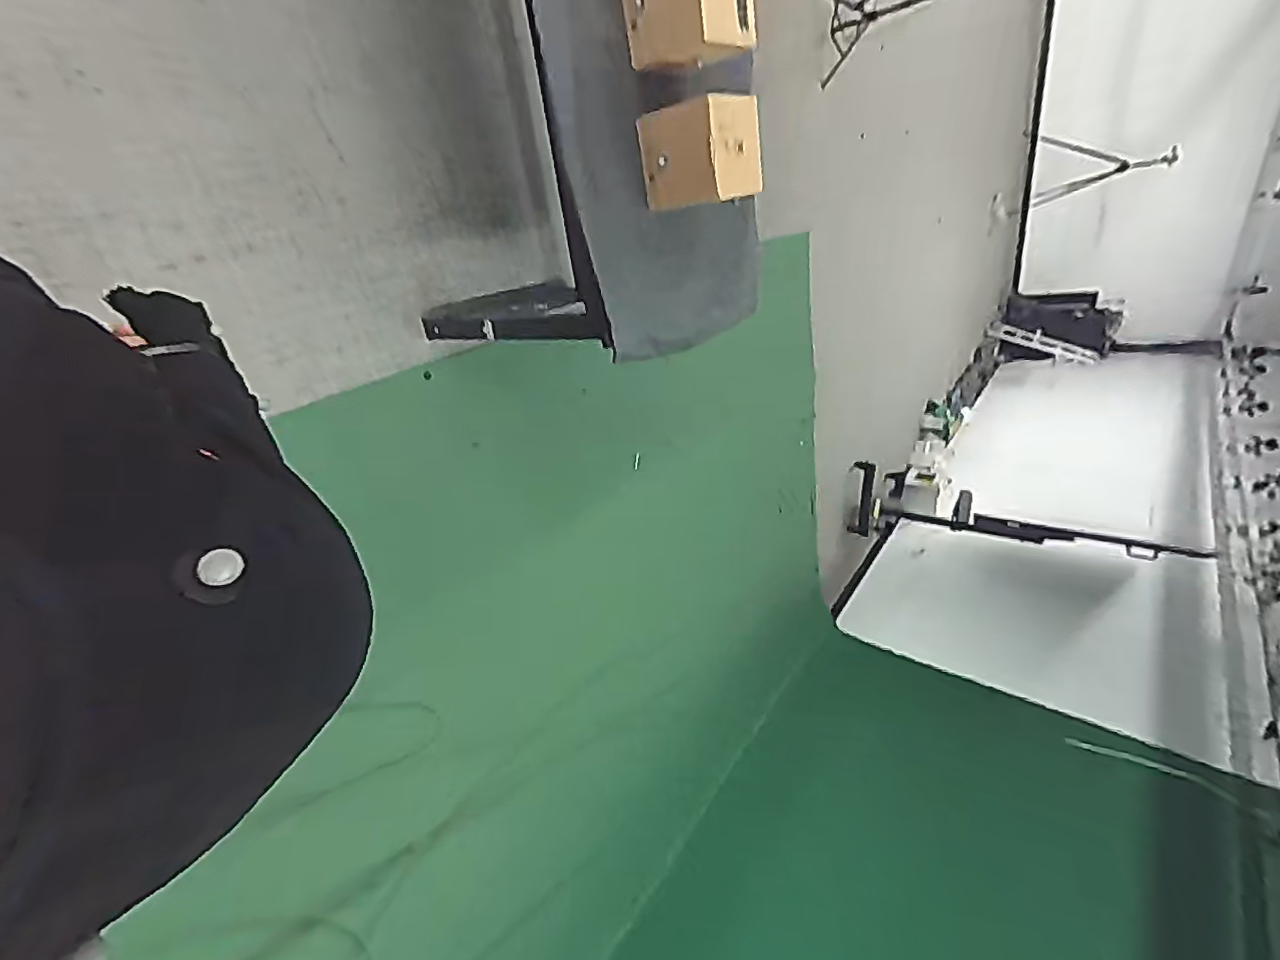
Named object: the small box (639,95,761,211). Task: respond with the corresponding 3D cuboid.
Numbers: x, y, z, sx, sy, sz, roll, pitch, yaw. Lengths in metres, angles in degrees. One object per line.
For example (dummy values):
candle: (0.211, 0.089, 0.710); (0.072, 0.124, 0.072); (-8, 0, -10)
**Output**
small box: (0.122, -0.641, 1.071); (0.179, 0.176, 0.168); (-34, 124, -40)
